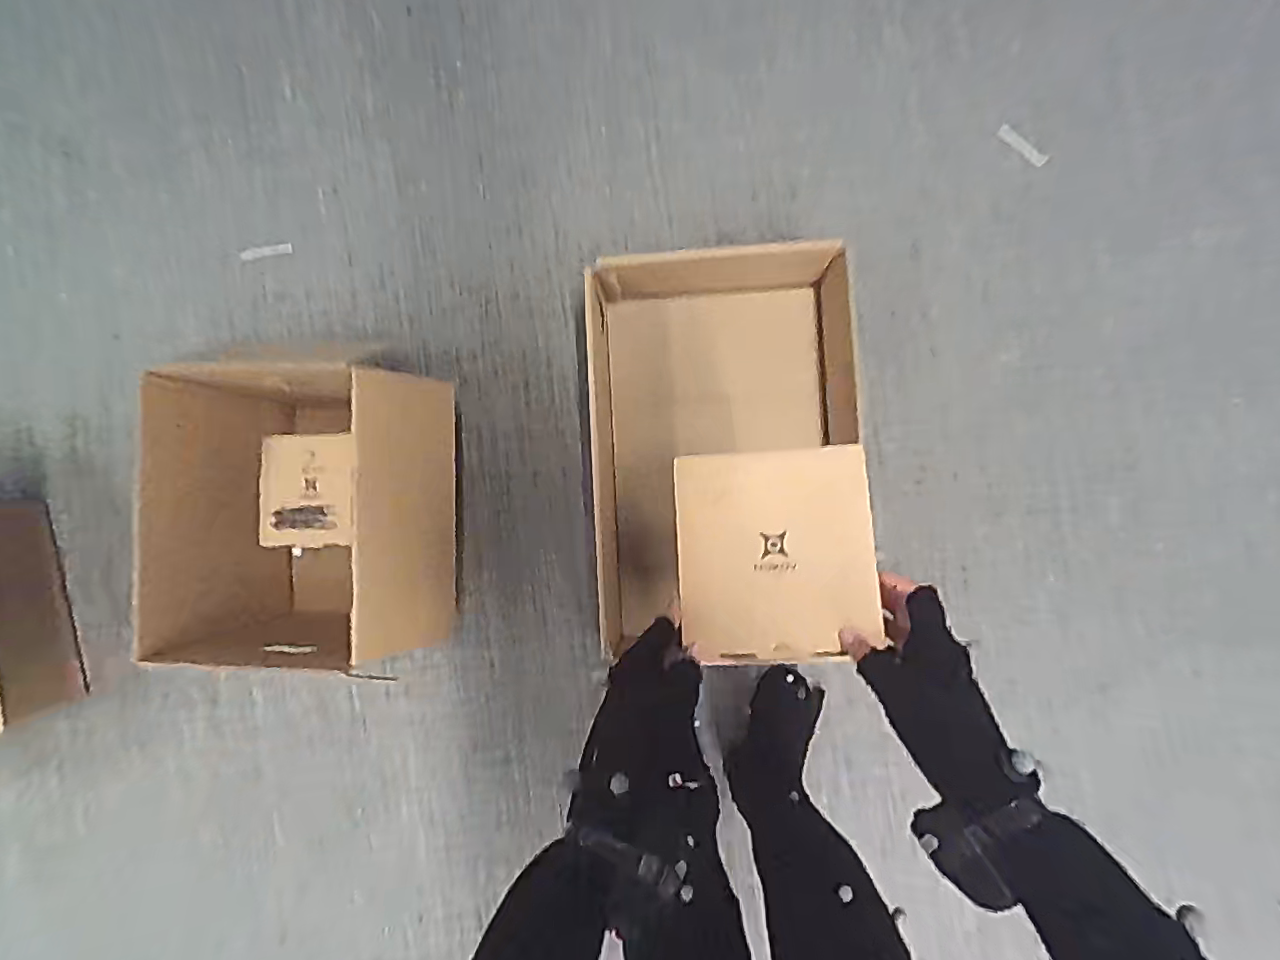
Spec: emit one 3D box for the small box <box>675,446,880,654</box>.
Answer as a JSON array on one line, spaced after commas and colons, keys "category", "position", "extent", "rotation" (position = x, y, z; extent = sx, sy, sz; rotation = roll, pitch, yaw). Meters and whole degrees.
[{"category": "small box", "position": [0.124, 0.073, 0.545], "extent": [0.168, 0.176, 0.179], "rotation": [-4, 80, 8]}]
